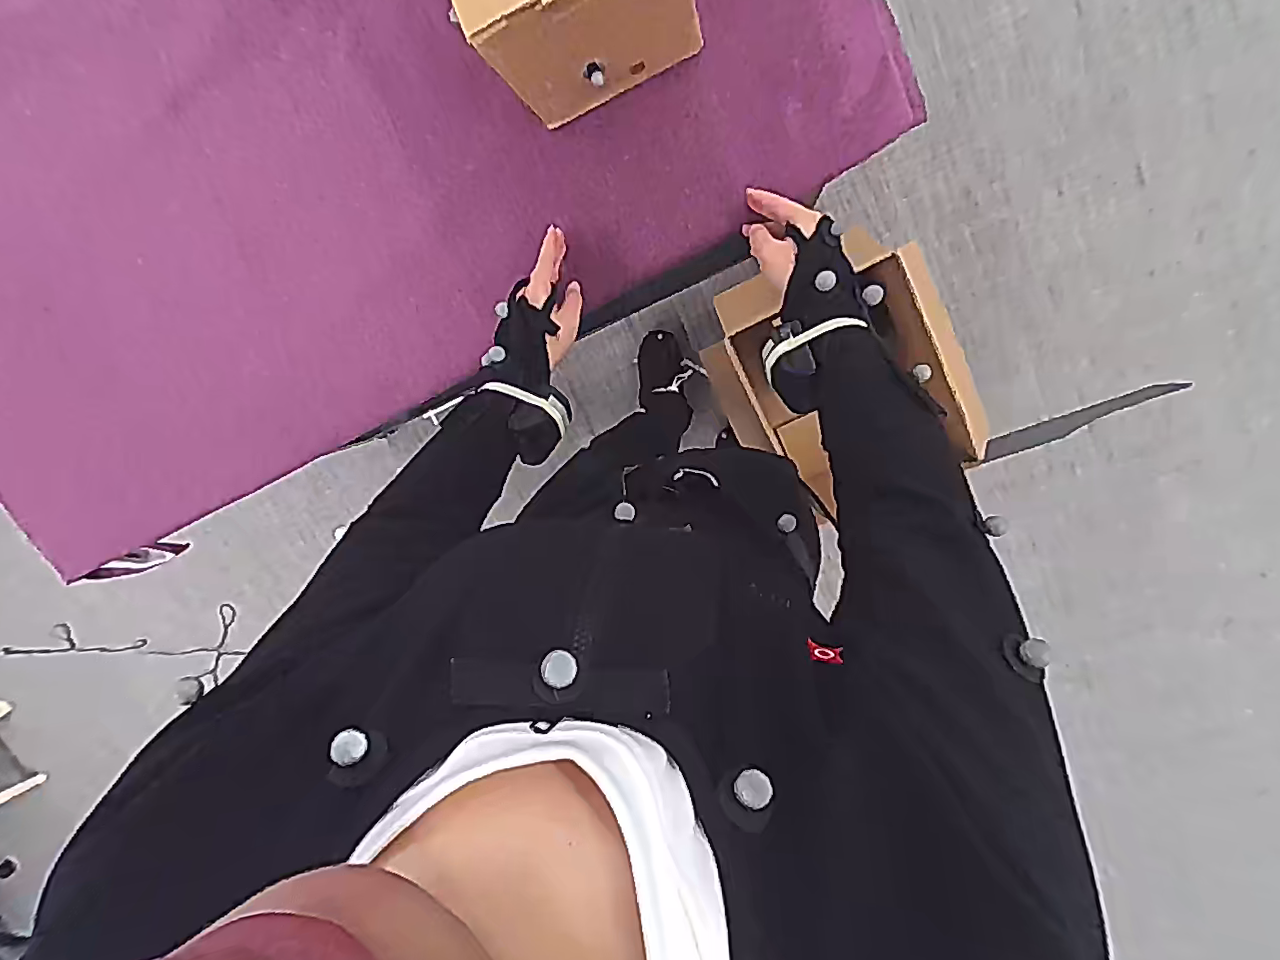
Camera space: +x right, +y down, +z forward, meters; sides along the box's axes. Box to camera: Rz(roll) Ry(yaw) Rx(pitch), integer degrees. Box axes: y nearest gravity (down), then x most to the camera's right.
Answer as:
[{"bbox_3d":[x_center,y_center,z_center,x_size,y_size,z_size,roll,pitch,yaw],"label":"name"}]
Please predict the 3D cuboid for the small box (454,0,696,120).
[{"bbox_3d":[-0.063,-0.440,0.433,0.168,0.176,0.179,-18,100,16],"label":"small box"}]
